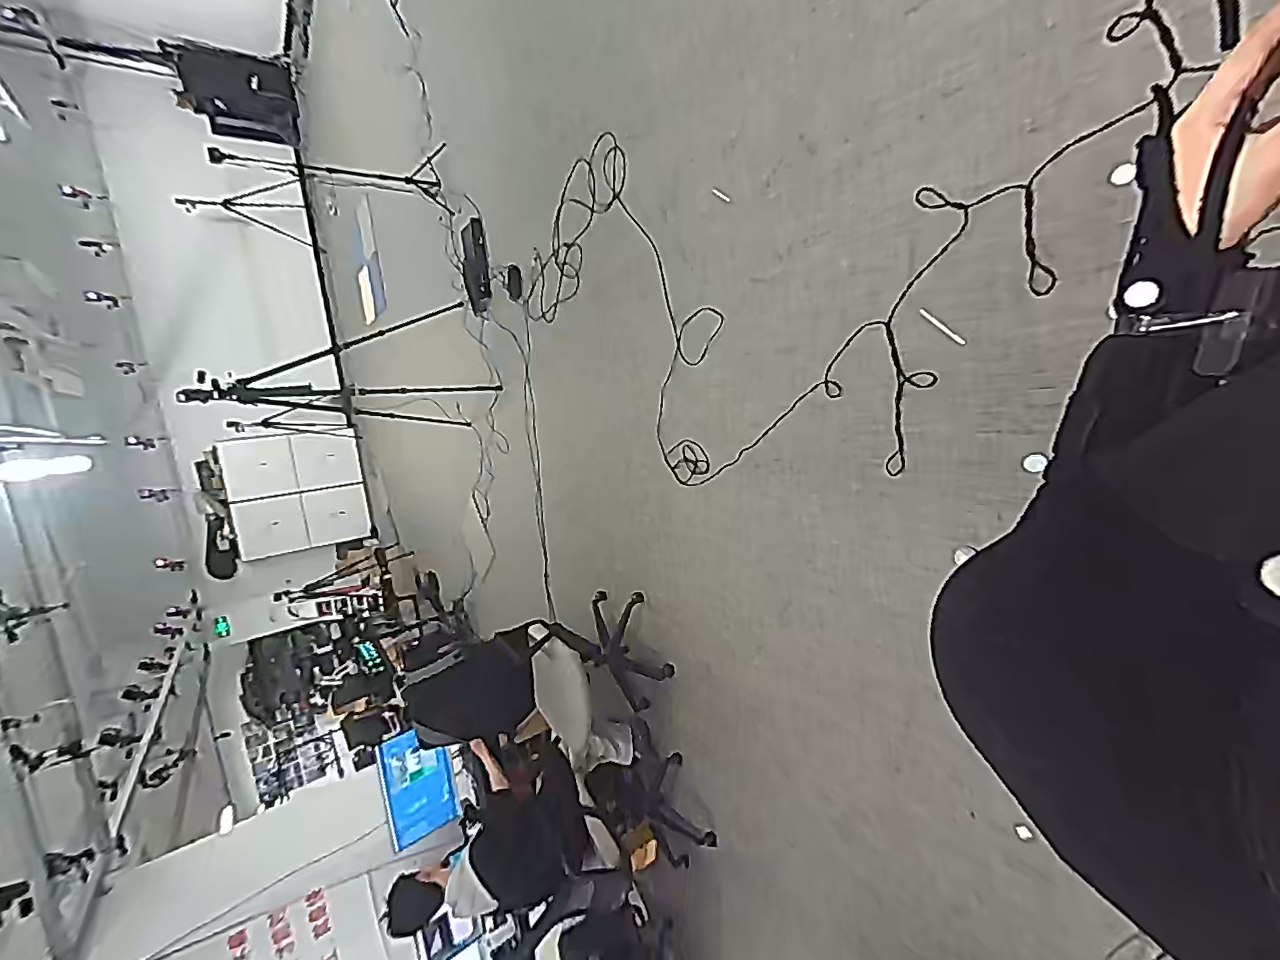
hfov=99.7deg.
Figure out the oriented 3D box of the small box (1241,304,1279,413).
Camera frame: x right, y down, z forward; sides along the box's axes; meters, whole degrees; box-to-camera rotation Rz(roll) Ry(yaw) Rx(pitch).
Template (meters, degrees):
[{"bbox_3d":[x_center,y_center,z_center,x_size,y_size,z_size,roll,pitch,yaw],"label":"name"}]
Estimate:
[{"bbox_3d":[1.075,-0.180,0.820,0.179,0.176,0.168,32,122,58],"label":"small box"}]
